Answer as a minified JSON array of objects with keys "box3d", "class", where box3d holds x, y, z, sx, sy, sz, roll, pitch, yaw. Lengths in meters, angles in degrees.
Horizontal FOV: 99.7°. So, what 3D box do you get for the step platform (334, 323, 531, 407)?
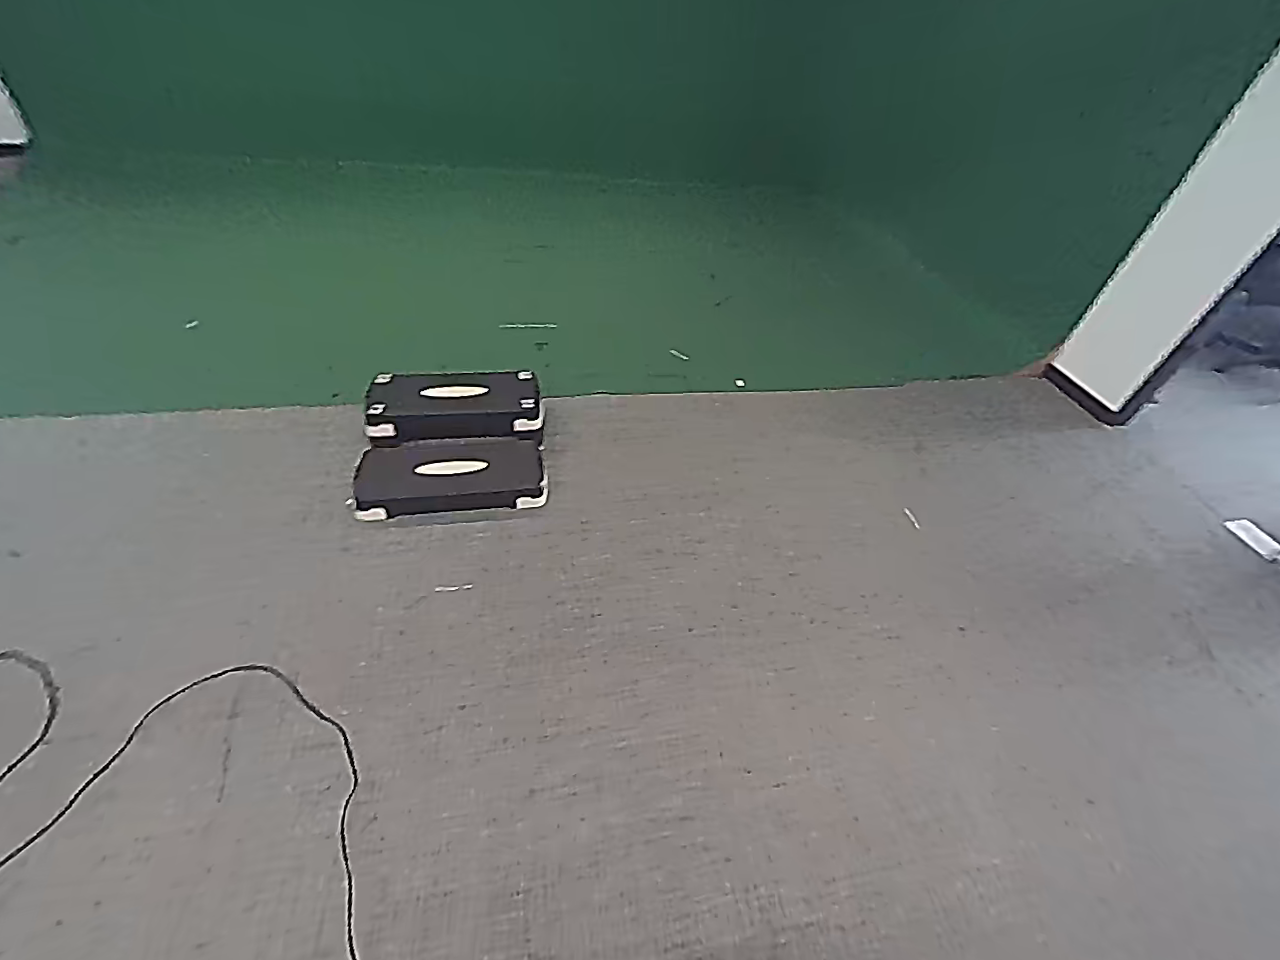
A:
[{"box3d":[-0.769,-0.447,2.079,0.684,0.204,0.286,-4,46,-11],"class":"step platform"}]
